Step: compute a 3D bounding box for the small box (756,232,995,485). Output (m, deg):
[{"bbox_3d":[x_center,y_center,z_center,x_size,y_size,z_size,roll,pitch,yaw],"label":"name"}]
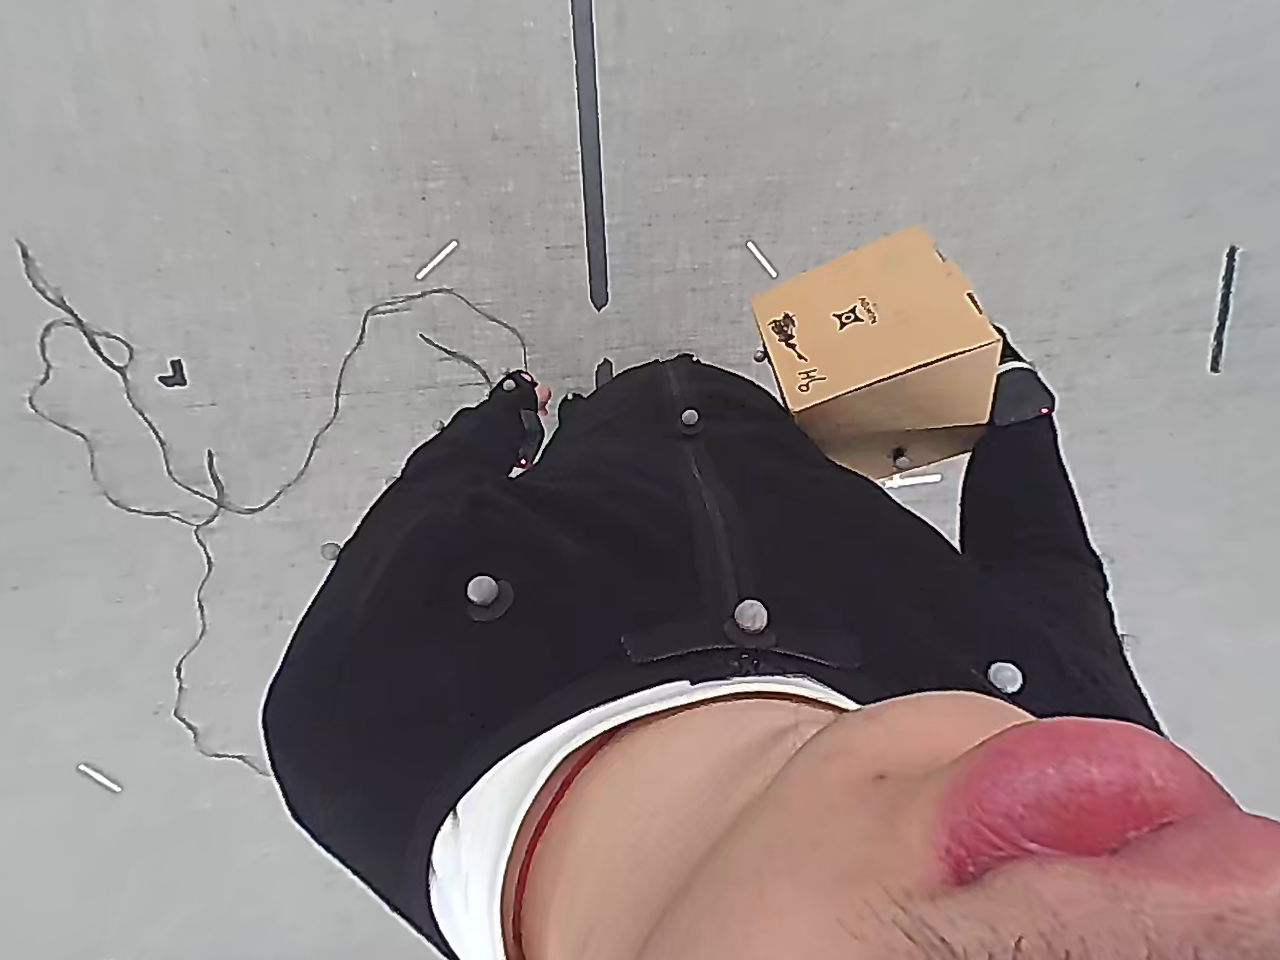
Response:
[{"bbox_3d":[0.244,-0.119,0.584,0.179,0.168,0.176,-19,143,16],"label":"small box"}]
